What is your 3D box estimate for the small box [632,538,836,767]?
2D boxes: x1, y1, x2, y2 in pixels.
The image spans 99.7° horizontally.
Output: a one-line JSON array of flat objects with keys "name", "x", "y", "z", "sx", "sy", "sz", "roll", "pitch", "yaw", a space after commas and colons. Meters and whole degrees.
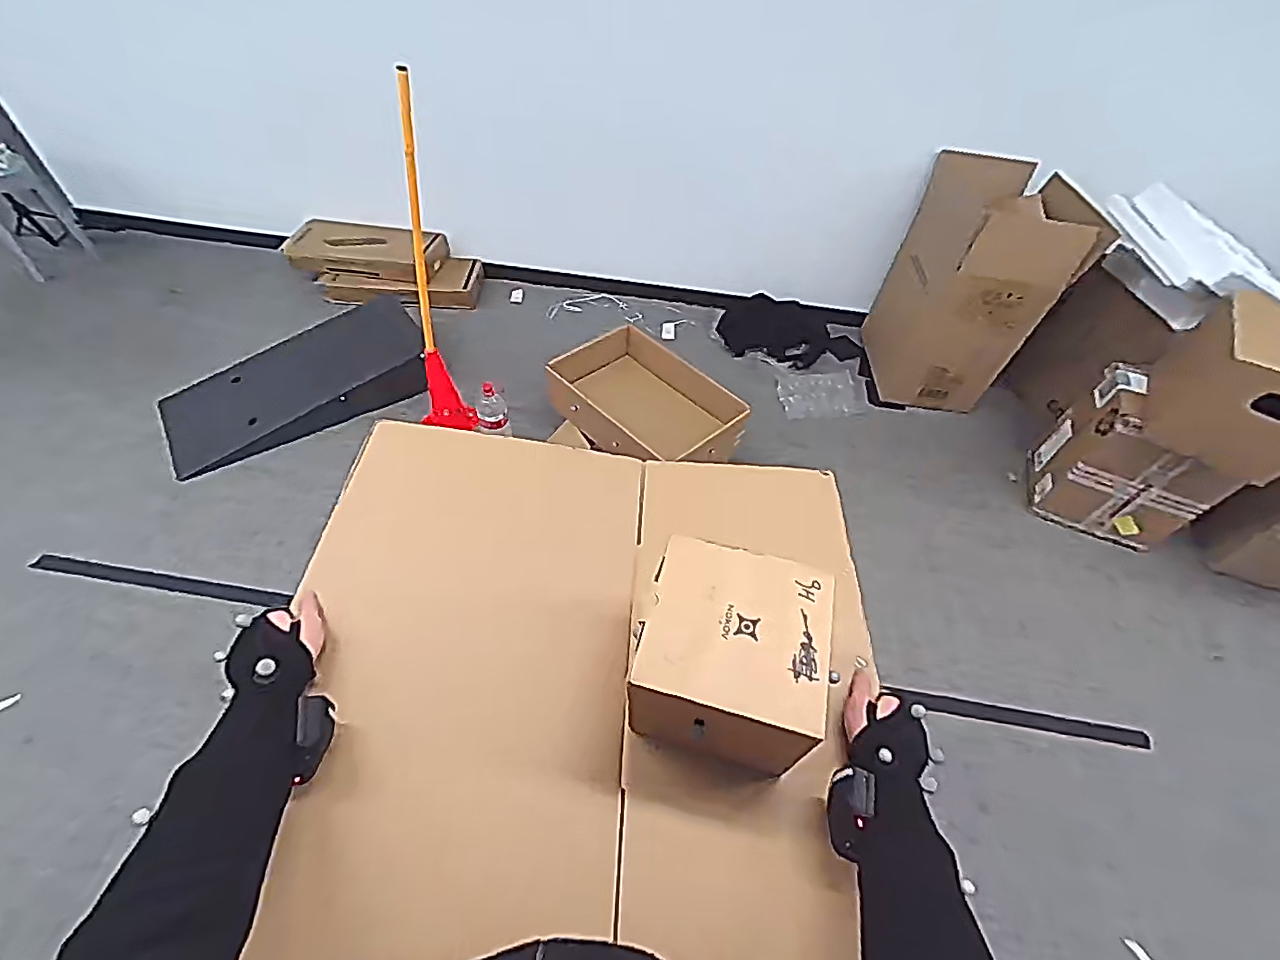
[{"name": "small box", "x": 0.098, "y": 0.190, "z": 0.587, "sx": 0.179, "sy": 0.176, "sz": 0.168, "roll": 12, "pitch": 53, "yaw": 10}]
